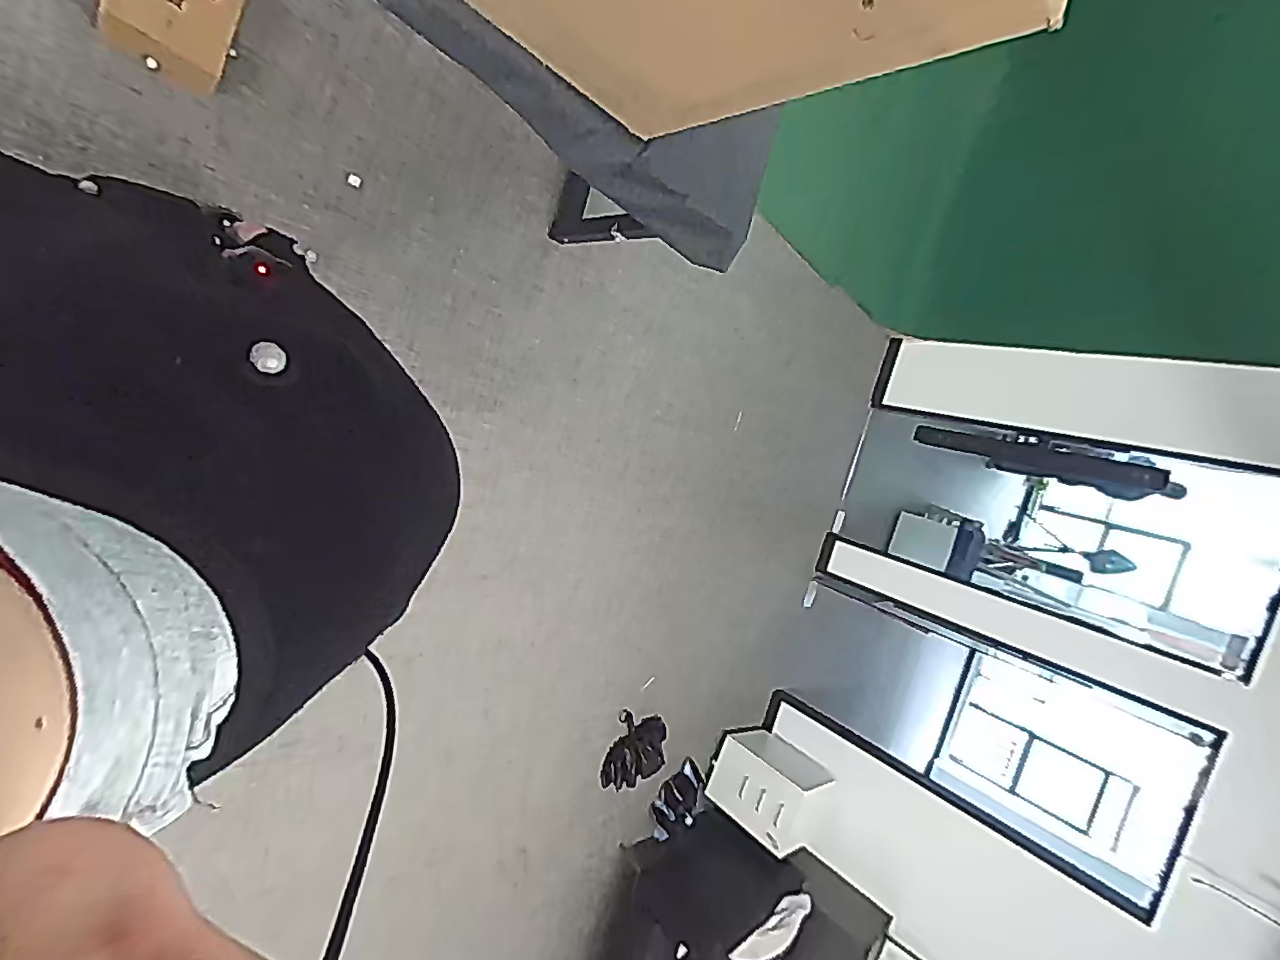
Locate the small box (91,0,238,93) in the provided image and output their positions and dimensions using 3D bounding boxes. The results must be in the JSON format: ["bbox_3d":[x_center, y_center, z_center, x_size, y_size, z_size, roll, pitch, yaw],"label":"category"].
[{"bbox_3d":[-0.871,-0.861,0.991,0.168,0.176,0.179,18,93,-47],"label":"small box"}]
